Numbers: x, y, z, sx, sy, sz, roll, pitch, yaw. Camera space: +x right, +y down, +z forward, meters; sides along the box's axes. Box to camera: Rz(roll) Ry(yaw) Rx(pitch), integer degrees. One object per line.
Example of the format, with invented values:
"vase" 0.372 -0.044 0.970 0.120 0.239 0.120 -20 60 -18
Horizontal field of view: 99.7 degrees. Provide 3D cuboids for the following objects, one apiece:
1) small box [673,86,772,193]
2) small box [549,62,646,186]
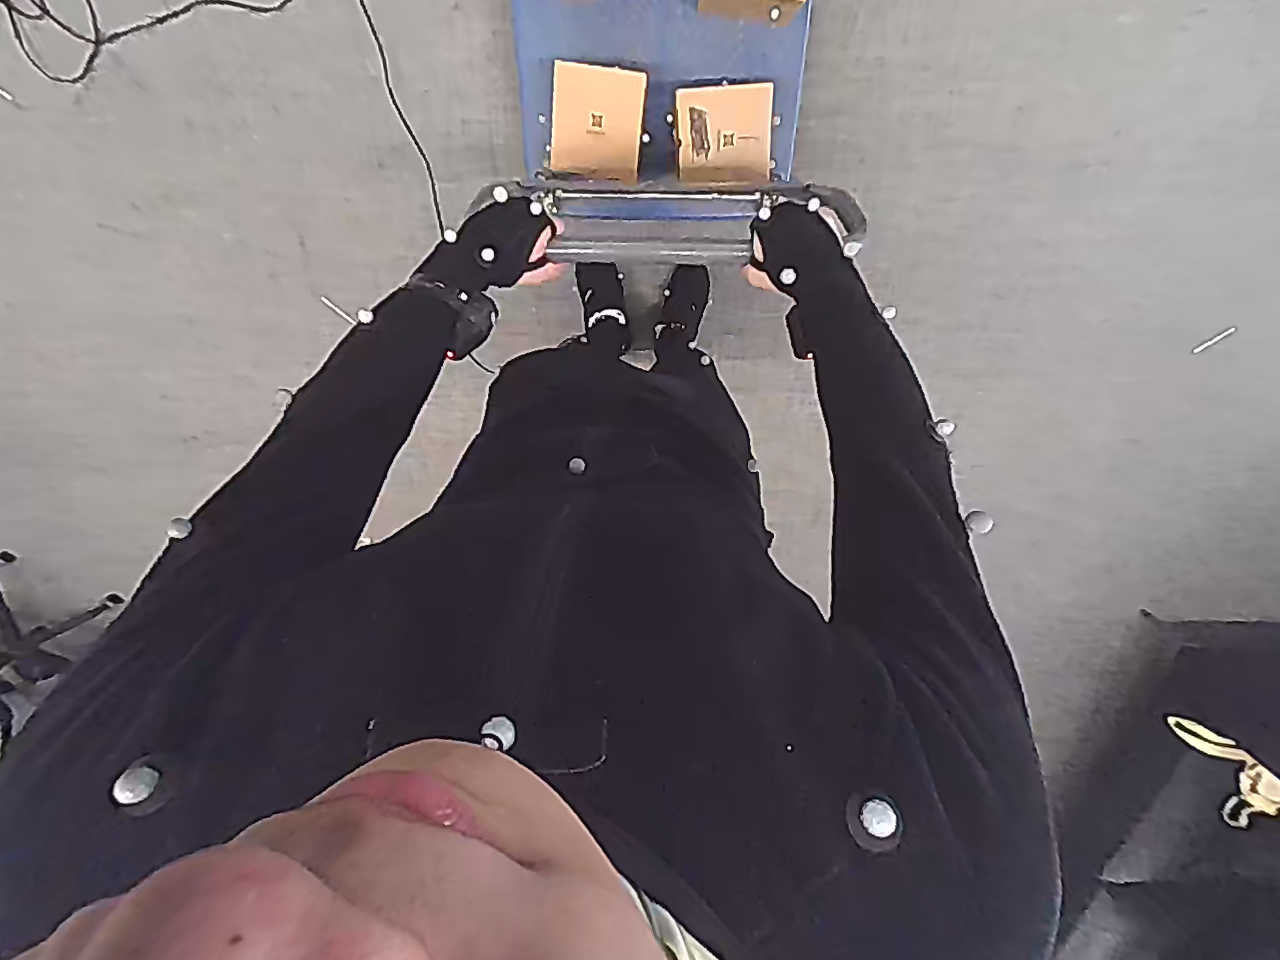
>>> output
"small box" 0.153 -0.666 1.072 0.179 0.176 0.168 -2 119 2
"small box" -0.083 -0.690 1.064 0.168 0.176 0.179 6 120 -4
